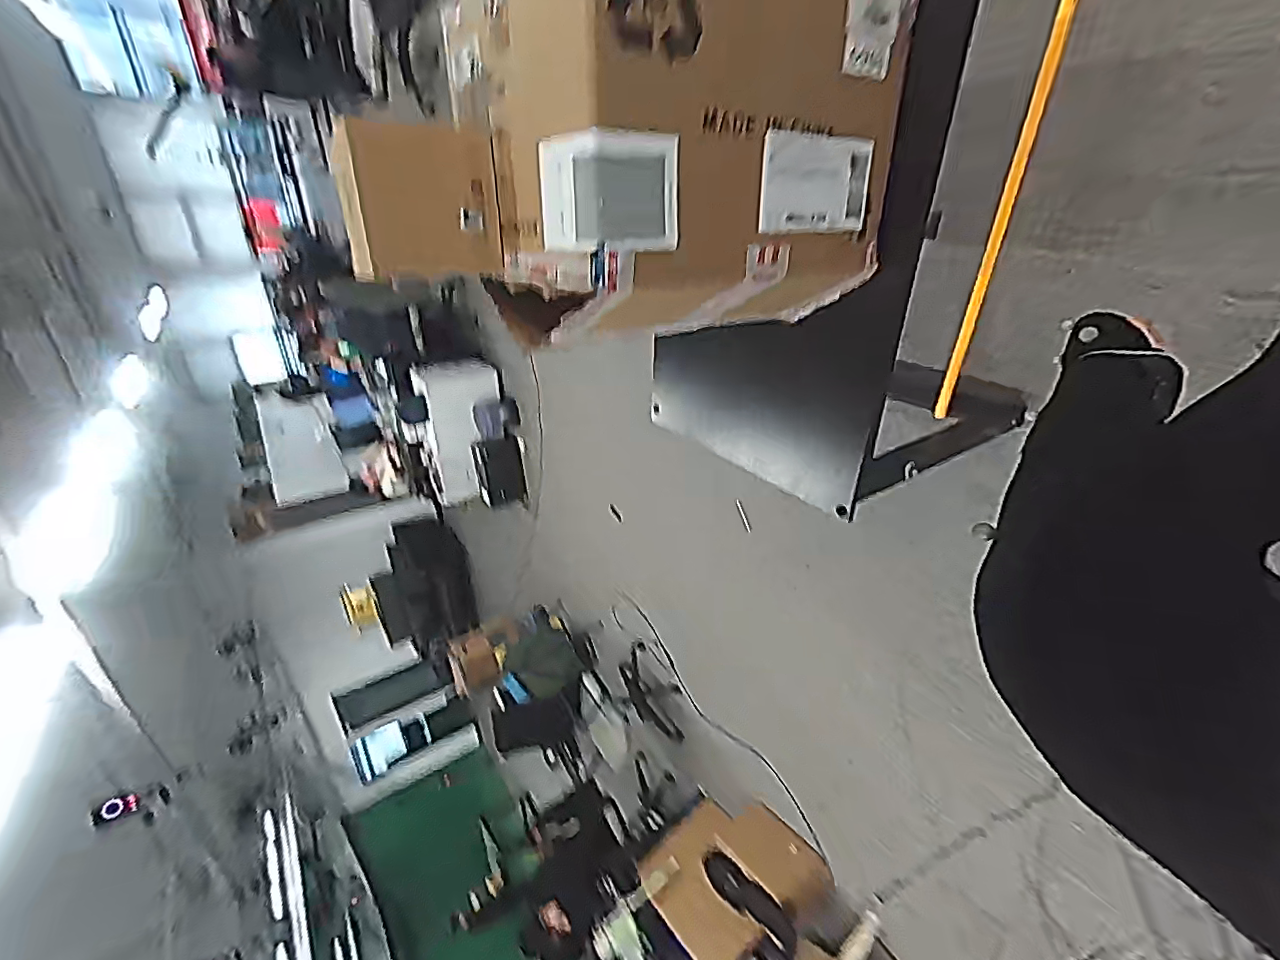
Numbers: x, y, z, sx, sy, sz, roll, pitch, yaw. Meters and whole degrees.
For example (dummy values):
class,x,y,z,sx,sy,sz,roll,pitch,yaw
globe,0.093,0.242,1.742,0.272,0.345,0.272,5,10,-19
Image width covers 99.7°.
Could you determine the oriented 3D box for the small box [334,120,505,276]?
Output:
class,x,y,z,sx,sy,sz,roll,pitch,yaw
small box,-0.296,-0.367,0.732,0.179,0.176,0.168,29,128,52
